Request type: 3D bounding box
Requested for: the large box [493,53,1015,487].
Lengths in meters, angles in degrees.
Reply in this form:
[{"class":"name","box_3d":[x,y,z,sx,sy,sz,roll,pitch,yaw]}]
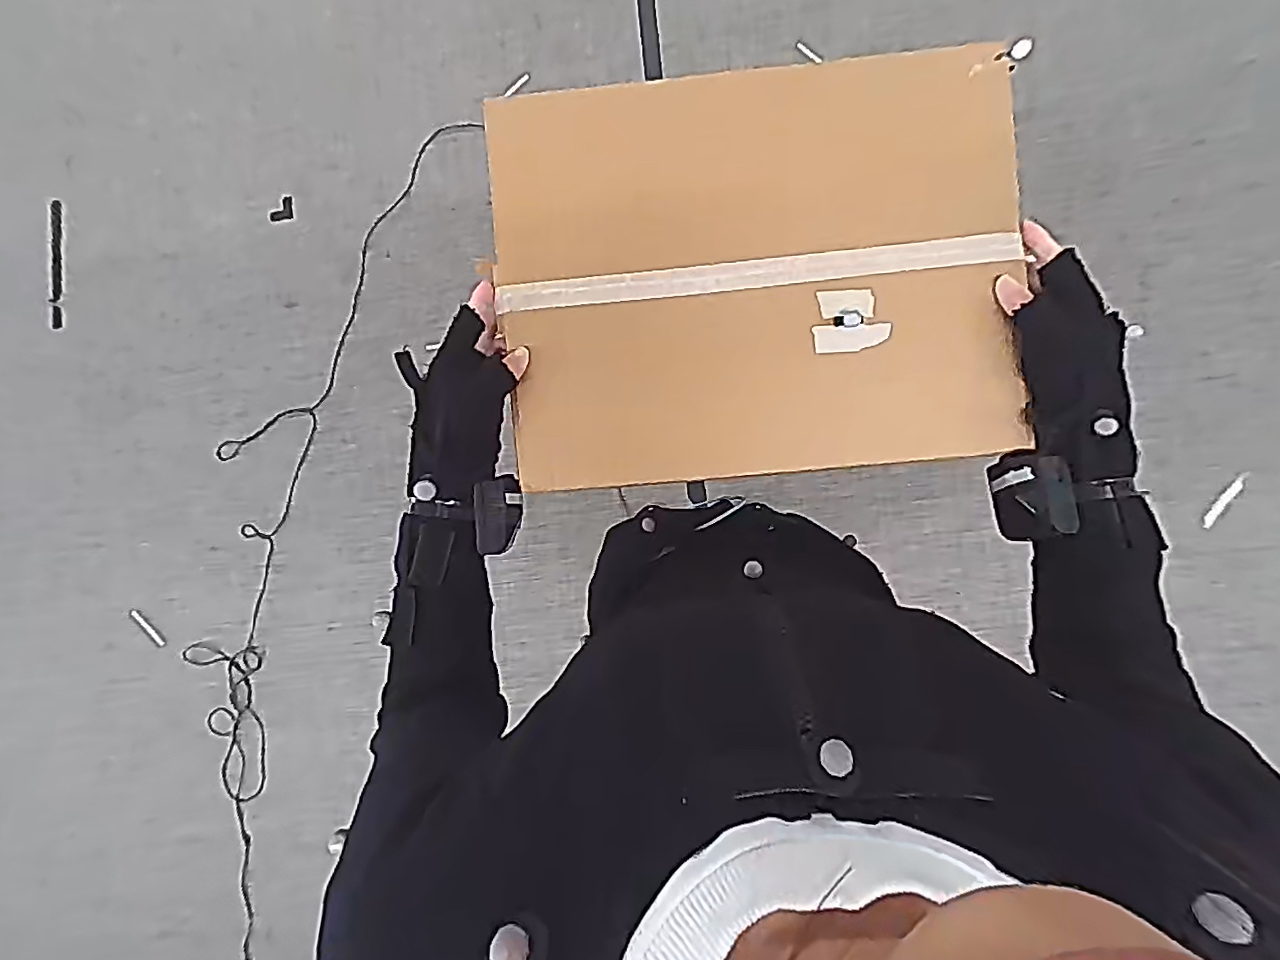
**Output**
[{"class":"large box","box_3d":[0.093,-0.171,0.585,0.408,0.320,0.320,-5,92,1]}]
